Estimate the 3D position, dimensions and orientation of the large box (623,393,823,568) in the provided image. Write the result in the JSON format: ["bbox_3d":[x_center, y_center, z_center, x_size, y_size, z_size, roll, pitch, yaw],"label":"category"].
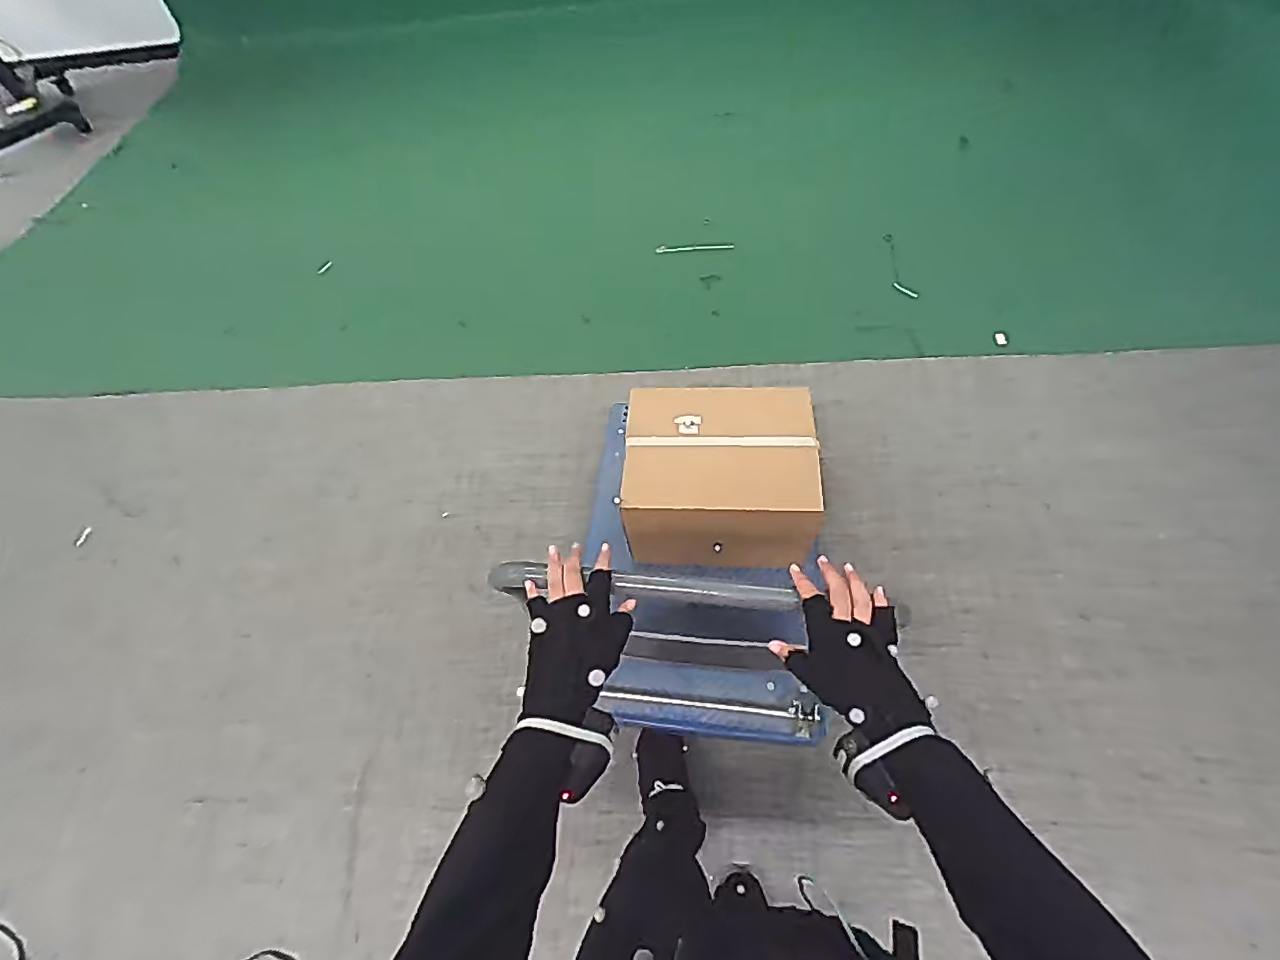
[{"bbox_3d":[0.187,0.013,1.284,0.408,0.320,0.320,0,59,7],"label":"large box"}]
